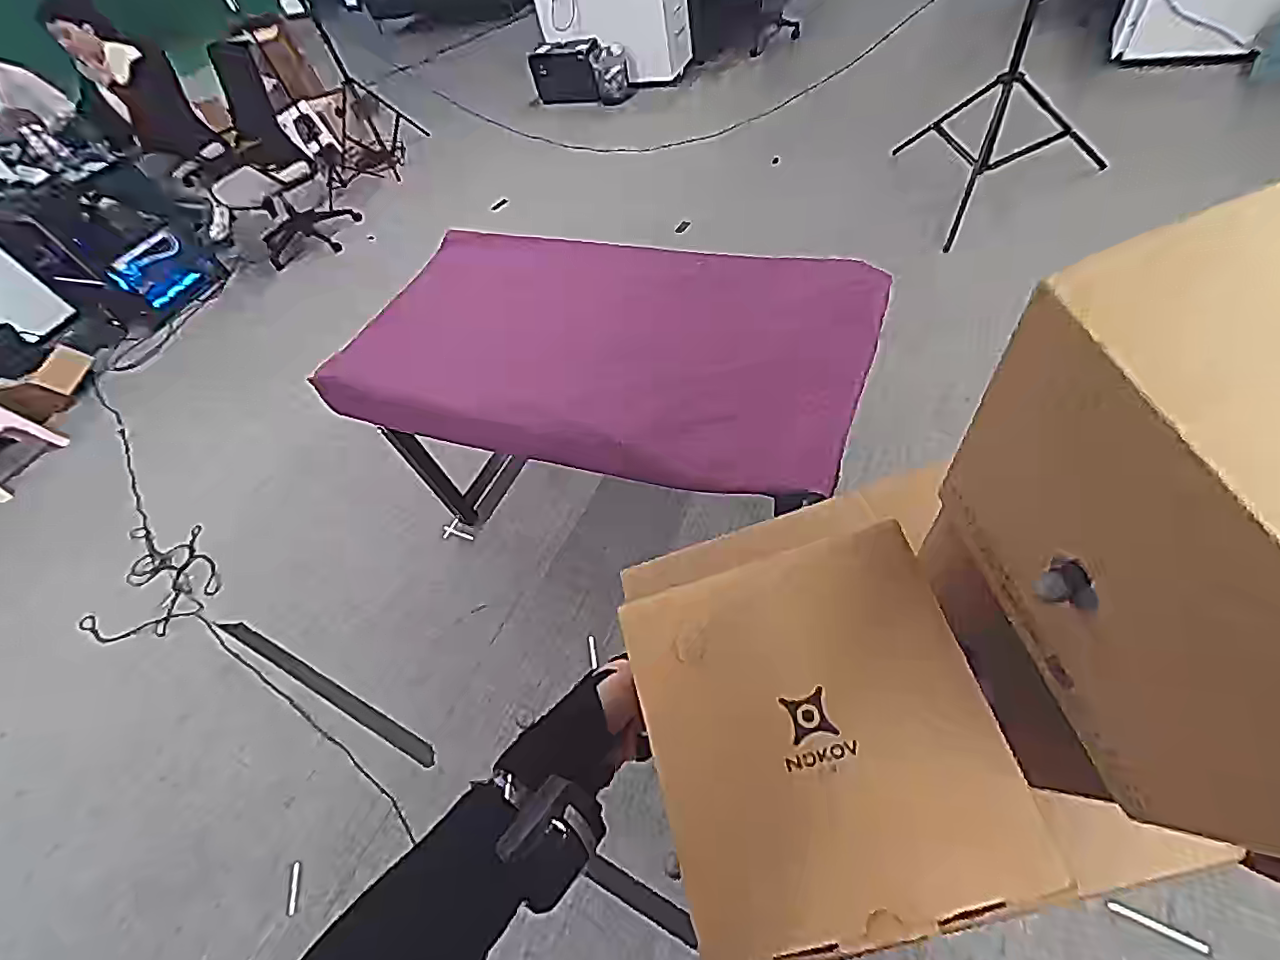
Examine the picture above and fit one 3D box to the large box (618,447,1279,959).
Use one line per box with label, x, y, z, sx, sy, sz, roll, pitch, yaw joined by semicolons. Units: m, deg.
large box;0.241;0.215;0.552;0.408;0.320;0.320;-22;58;7
